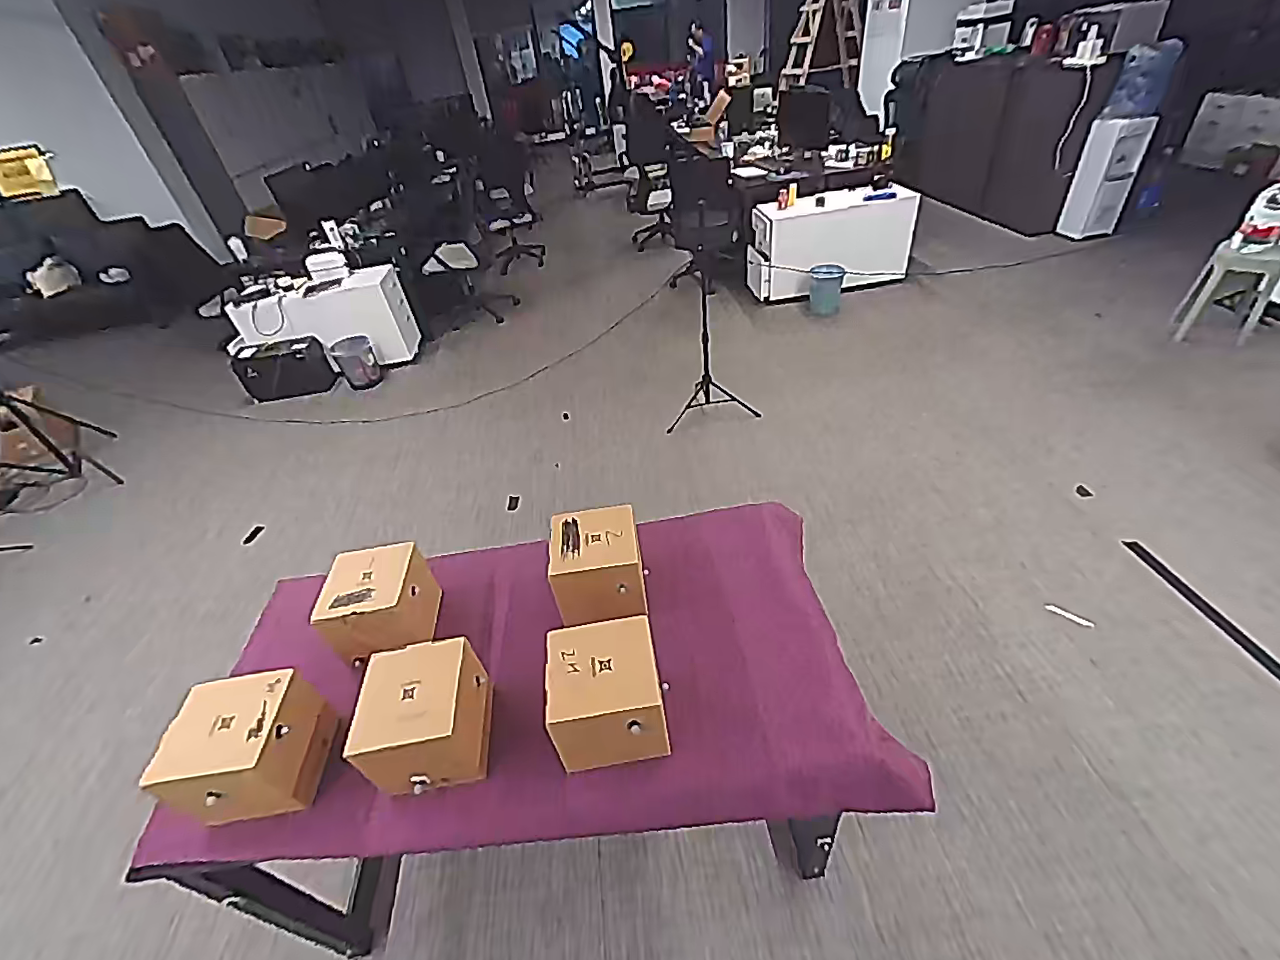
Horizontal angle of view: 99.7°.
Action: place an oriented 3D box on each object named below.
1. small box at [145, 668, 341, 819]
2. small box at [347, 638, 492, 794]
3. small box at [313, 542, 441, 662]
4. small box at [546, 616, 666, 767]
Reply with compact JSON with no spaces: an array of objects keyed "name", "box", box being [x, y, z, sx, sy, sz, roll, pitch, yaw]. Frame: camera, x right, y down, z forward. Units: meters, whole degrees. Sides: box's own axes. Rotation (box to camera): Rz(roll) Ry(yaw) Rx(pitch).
[{"name":"small box","box":[-0.651,0.447,0.914,0.179,0.176,0.168,-10,40,0]},{"name":"small box","box":[-0.359,0.400,0.921,0.168,0.176,0.179,-10,41,-1]},{"name":"small box","box":[-0.530,0.259,1.121,0.168,0.176,0.179,-10,39,-1]},{"name":"small box","box":[-0.053,0.356,0.910,0.179,0.176,0.168,-10,39,0]}]
